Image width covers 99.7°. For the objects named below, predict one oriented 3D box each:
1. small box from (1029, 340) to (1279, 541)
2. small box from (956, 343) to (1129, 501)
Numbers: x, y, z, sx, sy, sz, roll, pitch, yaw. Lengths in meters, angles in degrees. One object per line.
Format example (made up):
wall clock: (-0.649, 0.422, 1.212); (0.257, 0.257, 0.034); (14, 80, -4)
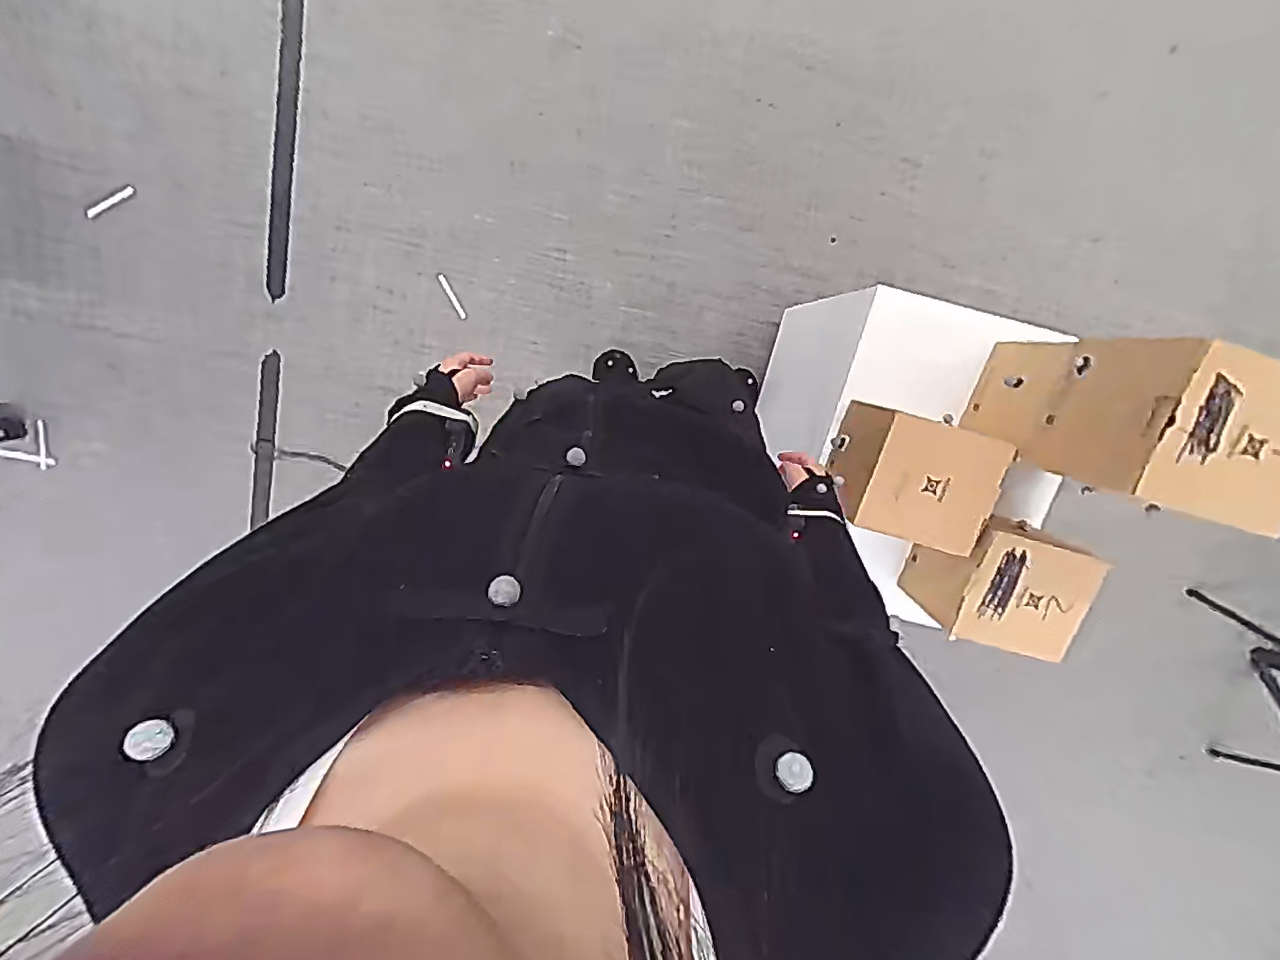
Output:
small box: (0.602, -0.053, 0.616); (0.179, 0.176, 0.168); (16, 104, -4)
small box: (0.602, -0.089, 0.776); (0.179, 0.176, 0.168); (17, 104, -4)
